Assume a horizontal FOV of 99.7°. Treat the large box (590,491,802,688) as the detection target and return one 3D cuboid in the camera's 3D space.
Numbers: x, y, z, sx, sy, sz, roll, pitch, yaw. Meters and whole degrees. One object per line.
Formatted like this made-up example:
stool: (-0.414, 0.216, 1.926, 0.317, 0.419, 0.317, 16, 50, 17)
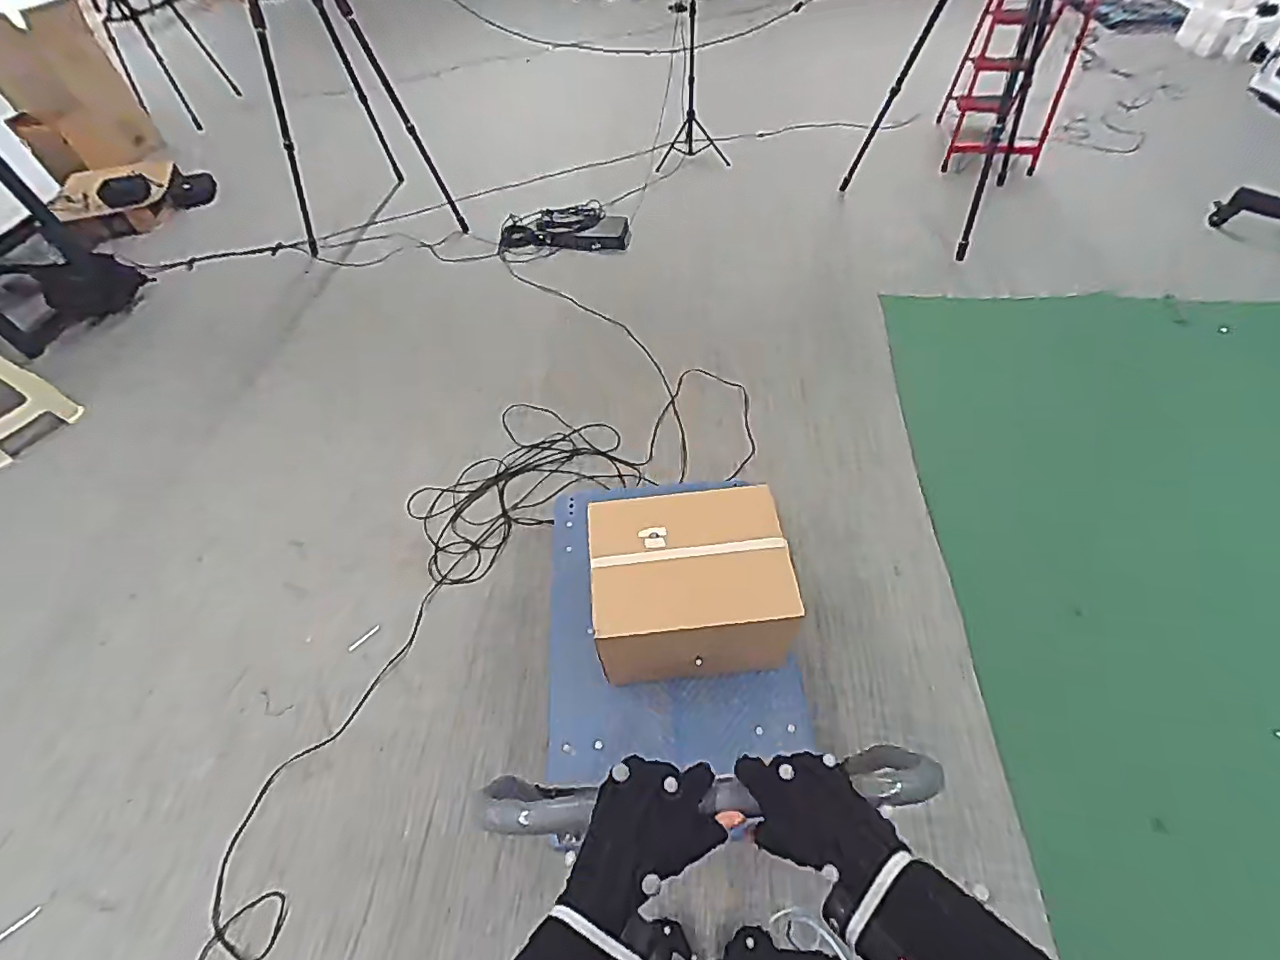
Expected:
large box: (0.113, 0.260, 1.239, 0.408, 0.320, 0.320, -7, 52, 1)
